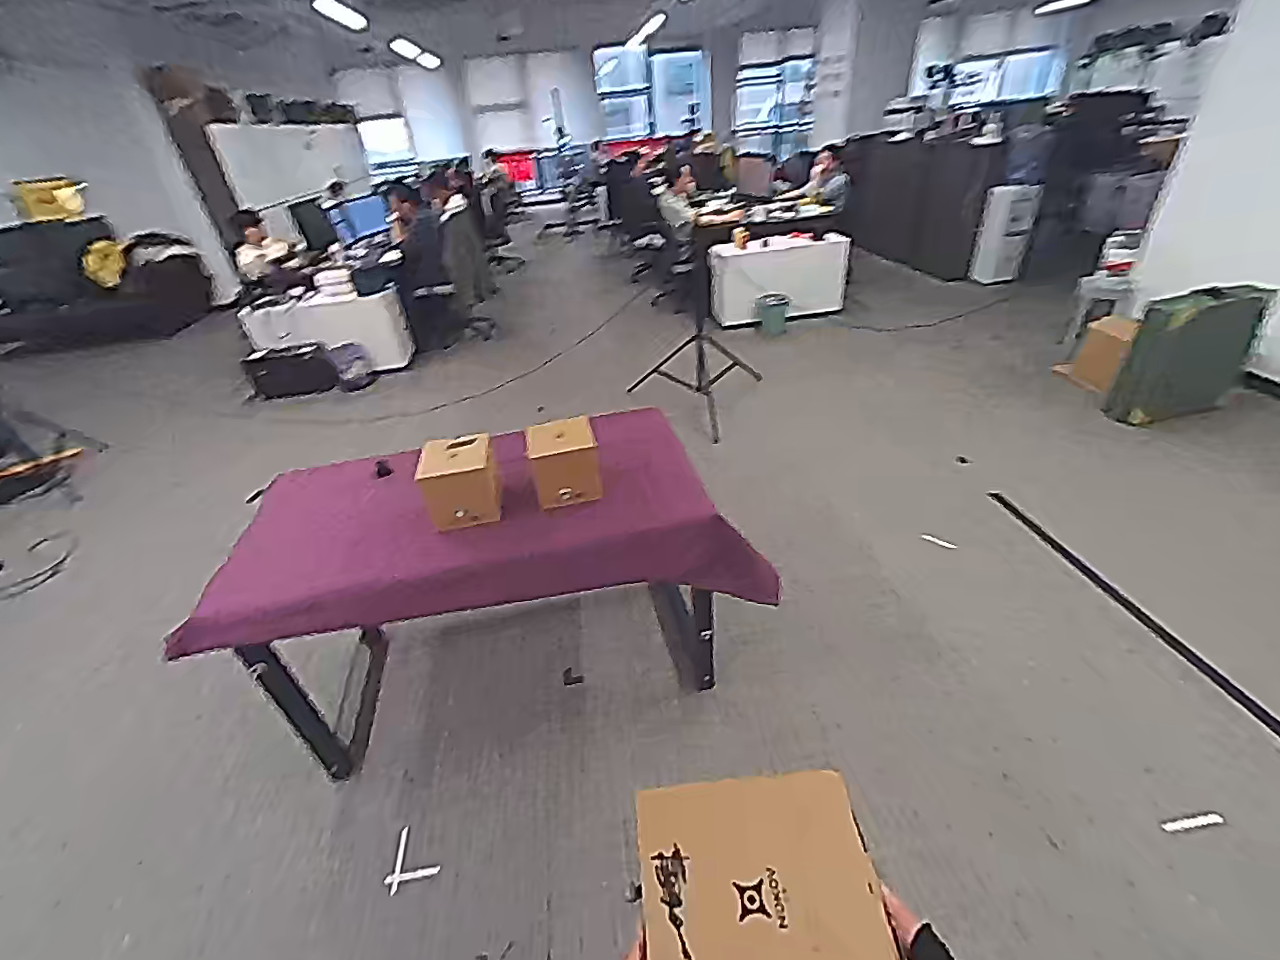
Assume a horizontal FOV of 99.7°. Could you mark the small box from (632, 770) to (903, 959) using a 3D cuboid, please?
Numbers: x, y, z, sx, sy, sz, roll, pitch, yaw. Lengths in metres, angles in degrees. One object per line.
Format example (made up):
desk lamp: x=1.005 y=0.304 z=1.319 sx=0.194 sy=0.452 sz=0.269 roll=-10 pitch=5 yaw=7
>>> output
small box: x=0.087 y=0.363 z=0.440 sx=0.179 sy=0.176 sz=0.168 roll=-3 pitch=39 yaw=-5

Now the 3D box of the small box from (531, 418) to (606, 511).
small box: x=-0.193 y=-0.042 z=1.444 sx=0.168 sy=0.176 sz=0.179 roll=-12 pitch=35 yaw=-7

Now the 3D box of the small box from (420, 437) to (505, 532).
small box: x=-0.451 y=0.010 z=1.402 sx=0.168 sy=0.176 sz=0.179 roll=-10 pitch=34 yaw=-6
